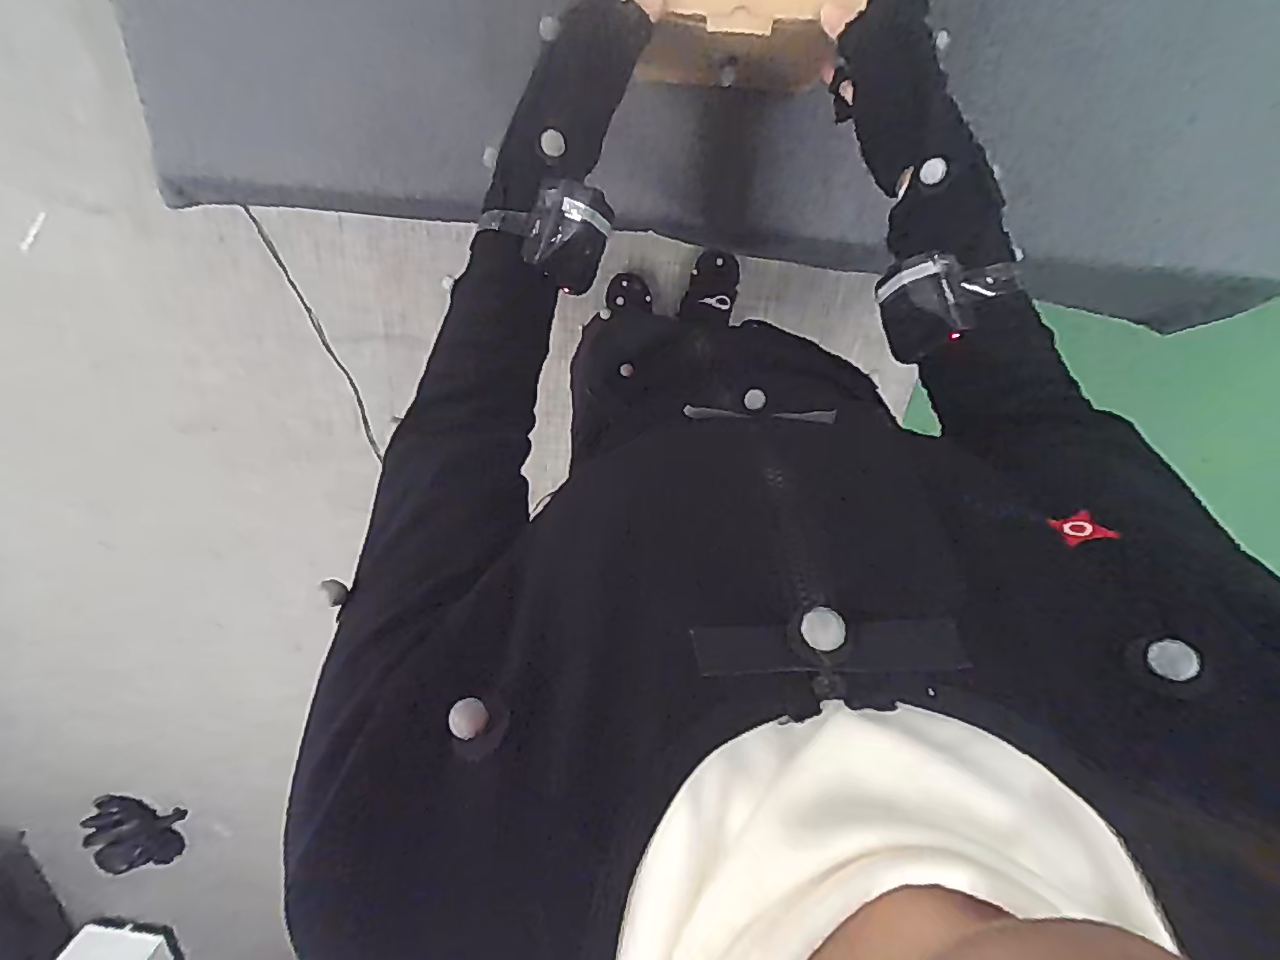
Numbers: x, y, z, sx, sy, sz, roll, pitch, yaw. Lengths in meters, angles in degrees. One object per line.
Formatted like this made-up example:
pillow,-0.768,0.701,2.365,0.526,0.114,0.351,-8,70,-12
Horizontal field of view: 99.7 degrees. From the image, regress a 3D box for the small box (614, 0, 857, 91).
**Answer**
small box,0.077,-0.418,0.409,0.168,0.176,0.179,5,114,3
